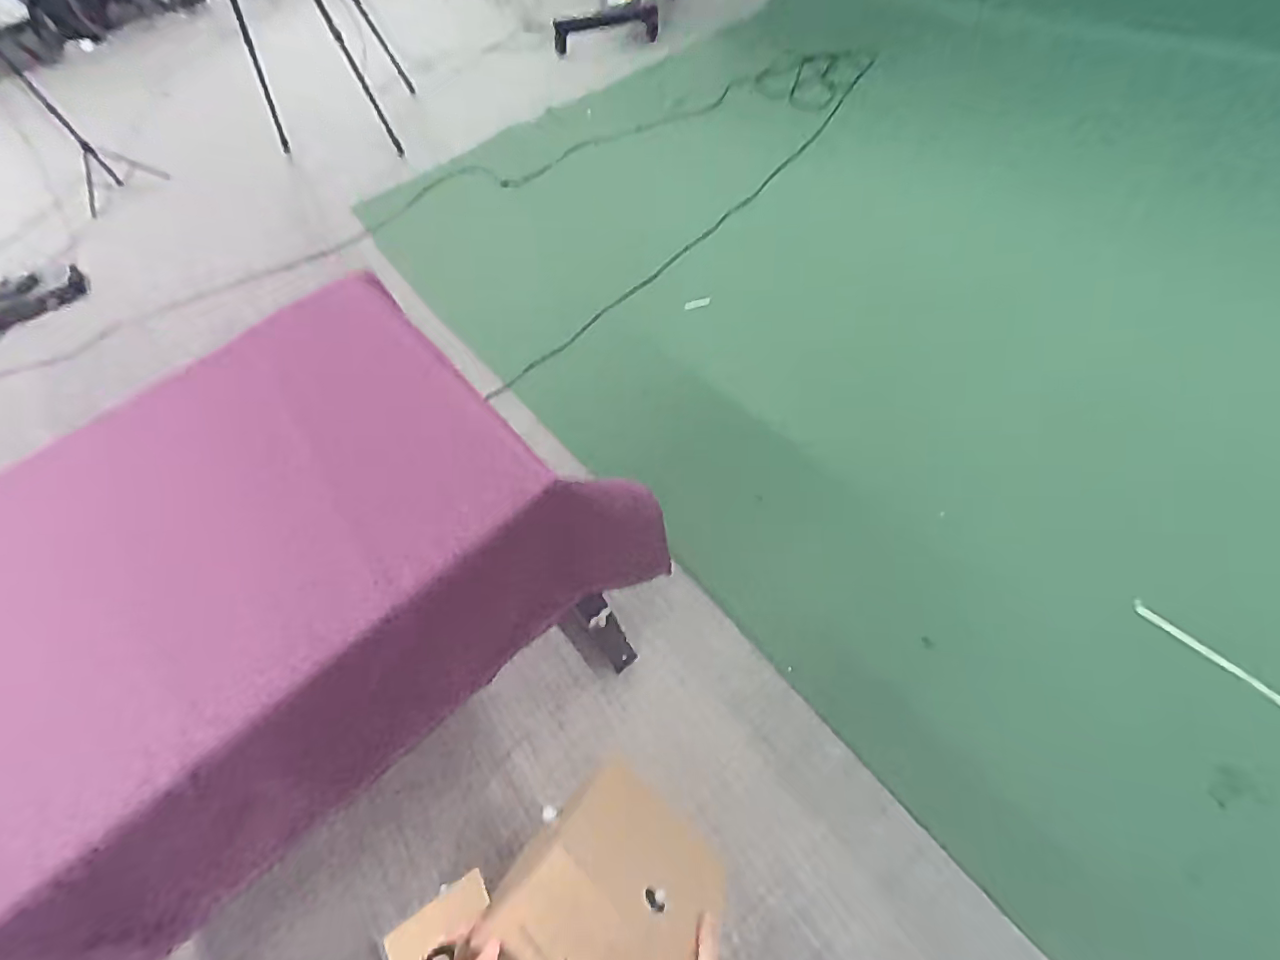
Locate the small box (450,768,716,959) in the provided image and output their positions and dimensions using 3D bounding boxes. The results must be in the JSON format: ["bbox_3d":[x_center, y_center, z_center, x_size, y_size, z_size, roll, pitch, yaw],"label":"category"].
[{"bbox_3d":[-0.043,0.429,0.525,0.179,0.176,0.168,41,98,11],"label":"small box"}]
